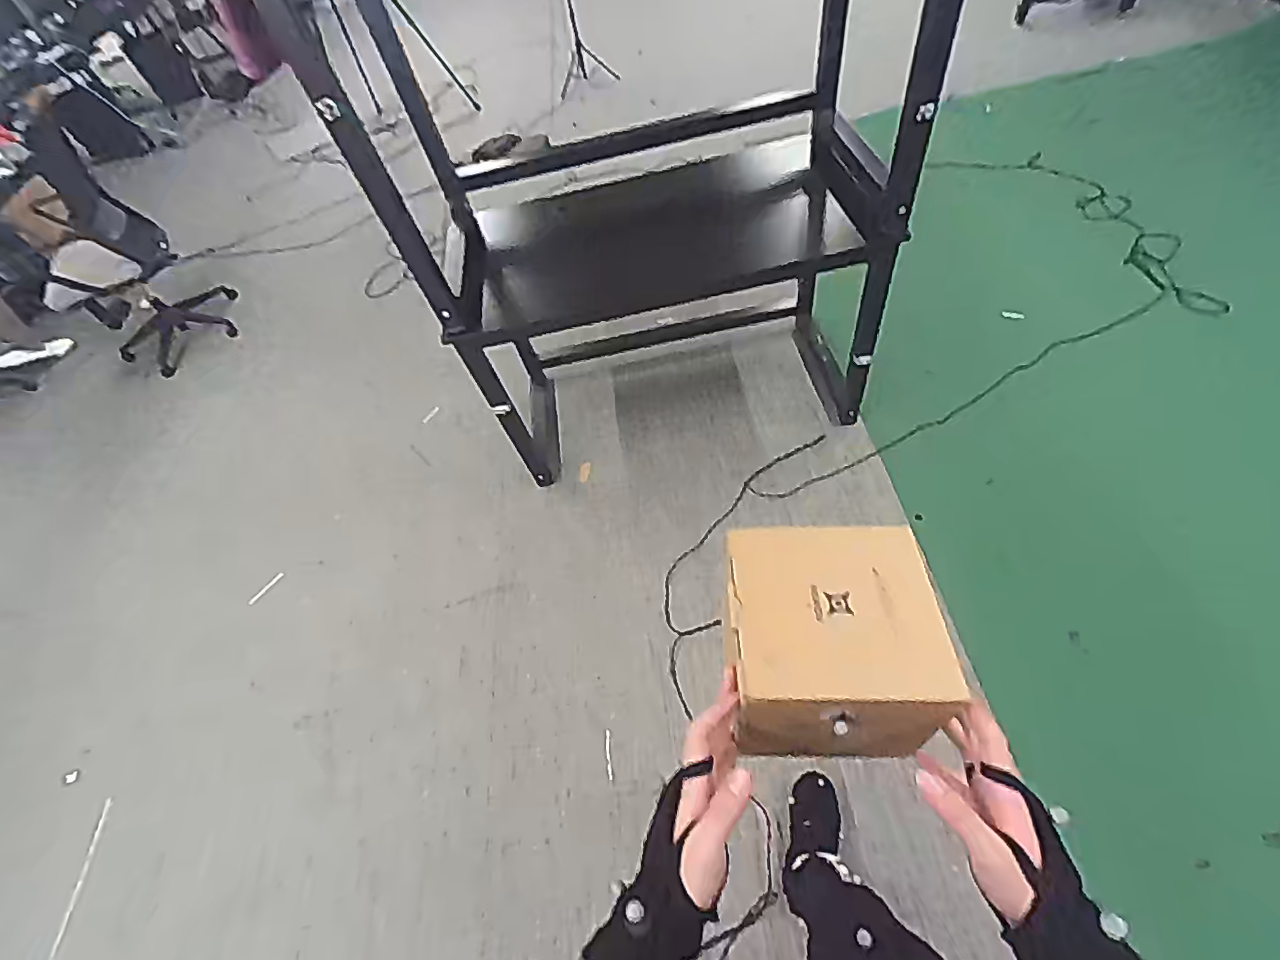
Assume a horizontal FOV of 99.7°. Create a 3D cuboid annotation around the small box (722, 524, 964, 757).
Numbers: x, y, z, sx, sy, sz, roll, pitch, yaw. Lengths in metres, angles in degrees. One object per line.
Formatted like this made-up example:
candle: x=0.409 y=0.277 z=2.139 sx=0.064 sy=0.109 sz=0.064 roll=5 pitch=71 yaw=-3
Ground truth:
small box: x=0.171 y=0.159 z=0.526 sx=0.179 sy=0.176 sz=0.168 roll=-1 pitch=48 yaw=5
